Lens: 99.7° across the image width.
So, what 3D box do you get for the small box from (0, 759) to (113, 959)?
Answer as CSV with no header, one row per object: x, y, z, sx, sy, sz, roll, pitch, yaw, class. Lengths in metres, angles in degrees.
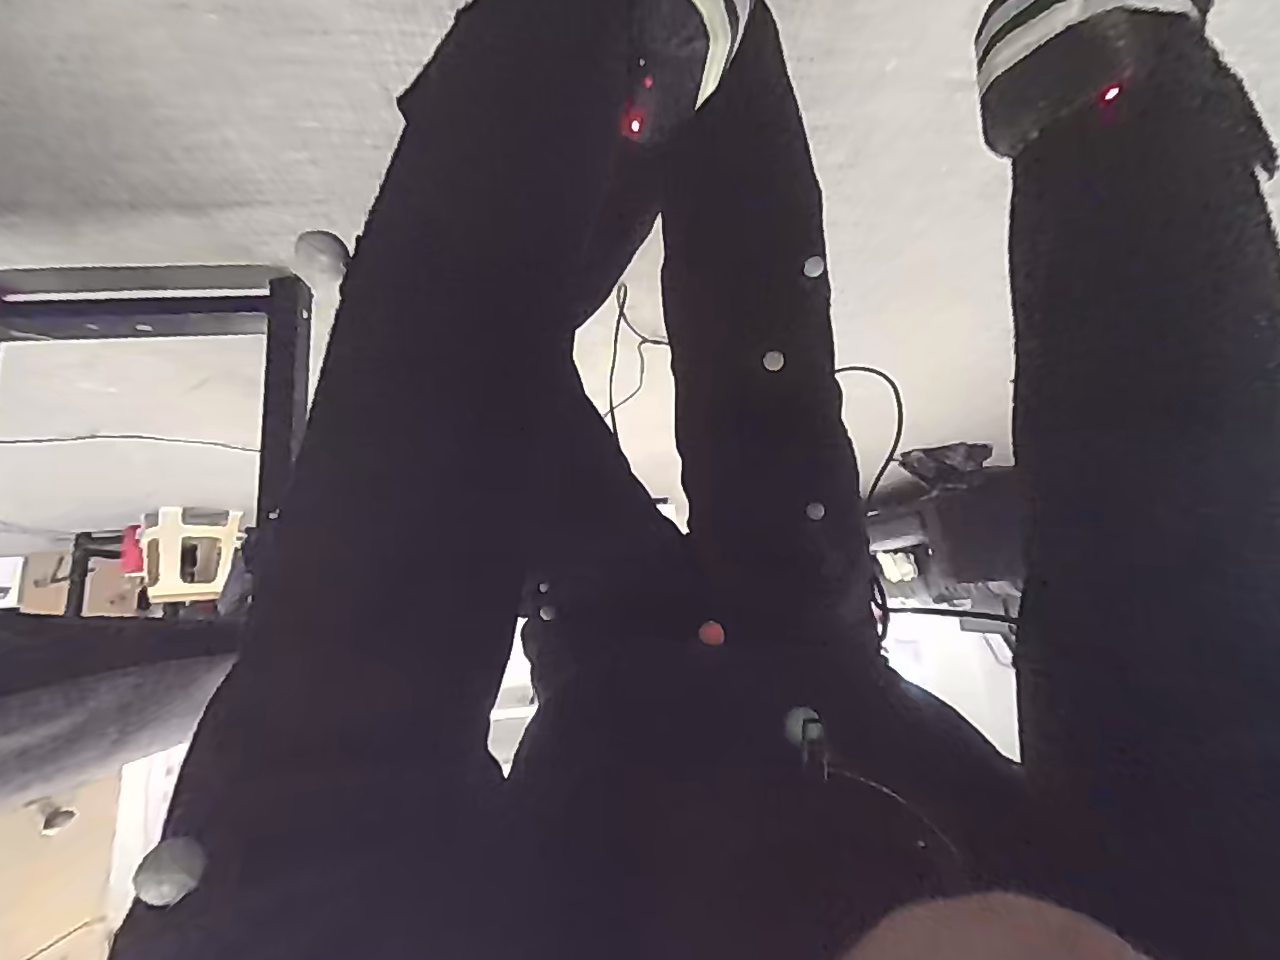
-0.653,0.374,0.503,0.179,0.176,0.168,-4,168,-5,small box

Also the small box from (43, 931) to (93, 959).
-0.639,0.532,0.470,0.179,0.176,0.168,-5,169,-4,small box
